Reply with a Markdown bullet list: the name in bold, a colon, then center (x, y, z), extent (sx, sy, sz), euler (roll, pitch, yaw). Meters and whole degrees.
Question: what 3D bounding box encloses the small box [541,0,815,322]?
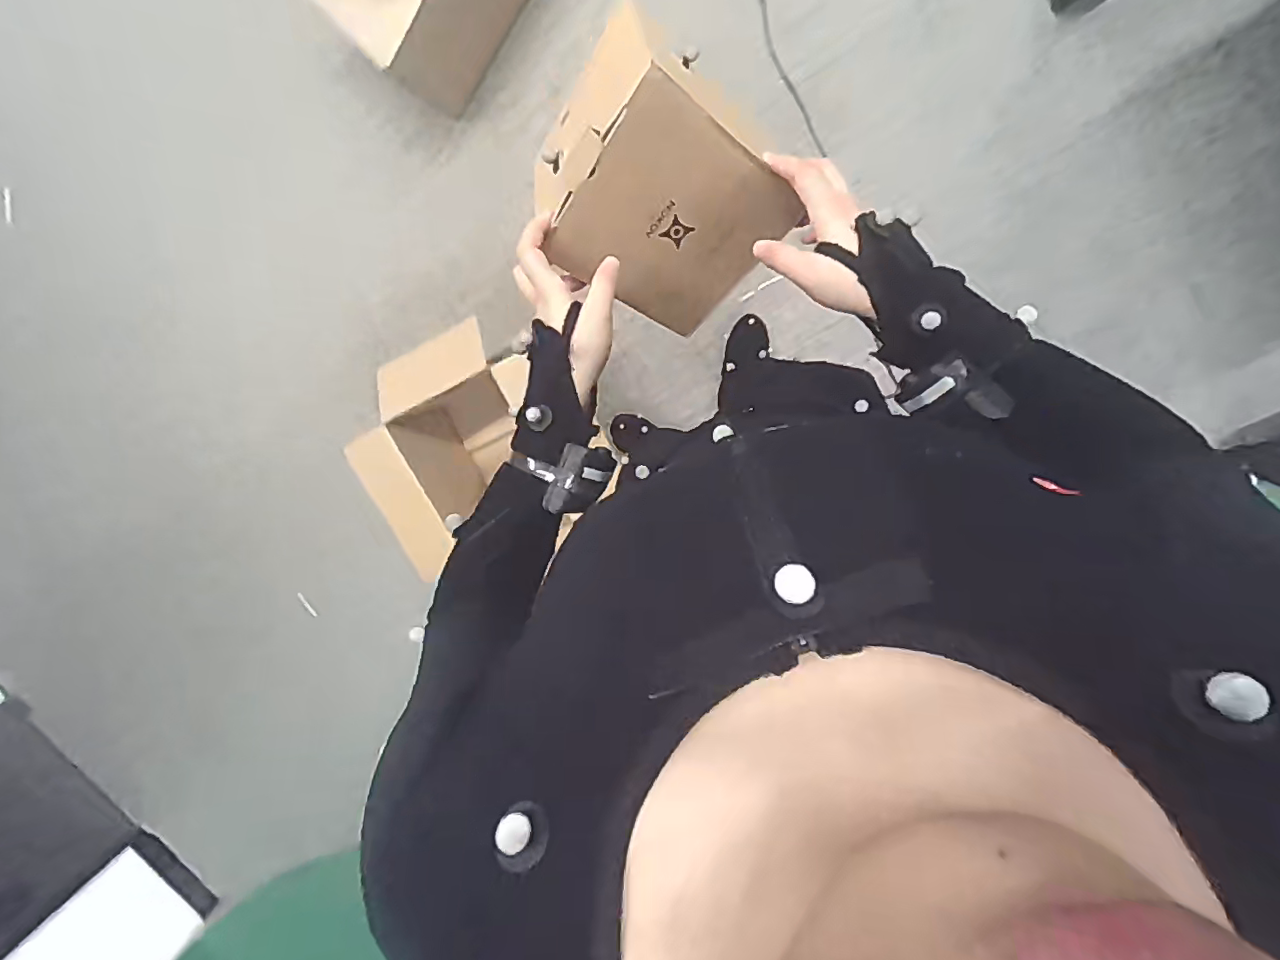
- **small box**: center (0.024, -0.289, 0.500), extent (0.179, 0.176, 0.168), euler (20, 138, -31)
